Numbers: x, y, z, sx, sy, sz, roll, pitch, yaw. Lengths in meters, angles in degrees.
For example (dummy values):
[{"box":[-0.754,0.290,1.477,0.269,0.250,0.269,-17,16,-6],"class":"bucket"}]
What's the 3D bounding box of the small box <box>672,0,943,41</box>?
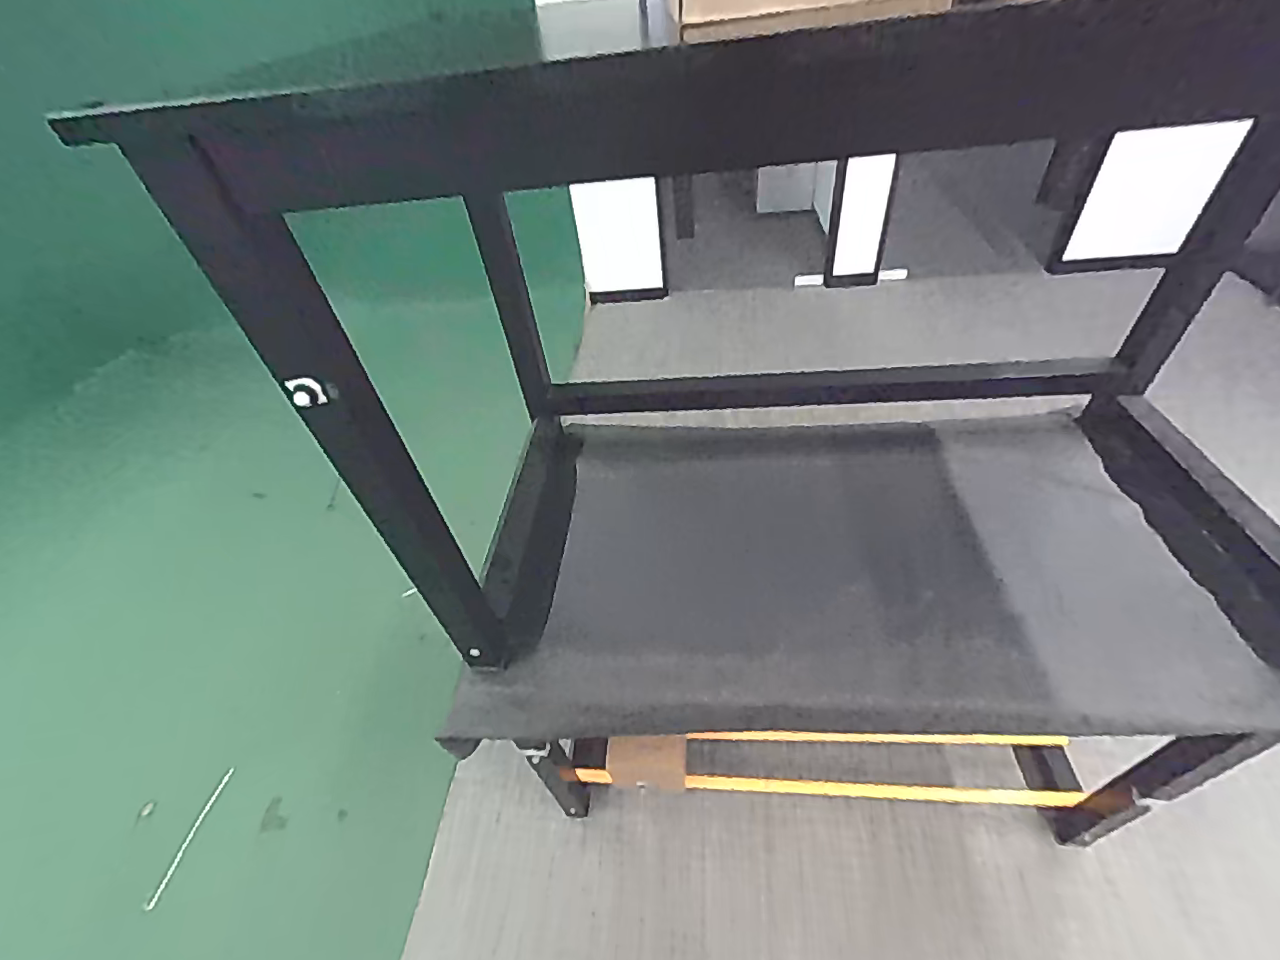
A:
[{"box":[0.099,-0.395,0.338,0.168,0.176,0.179,-4,45,5],"class":"small box"}]
